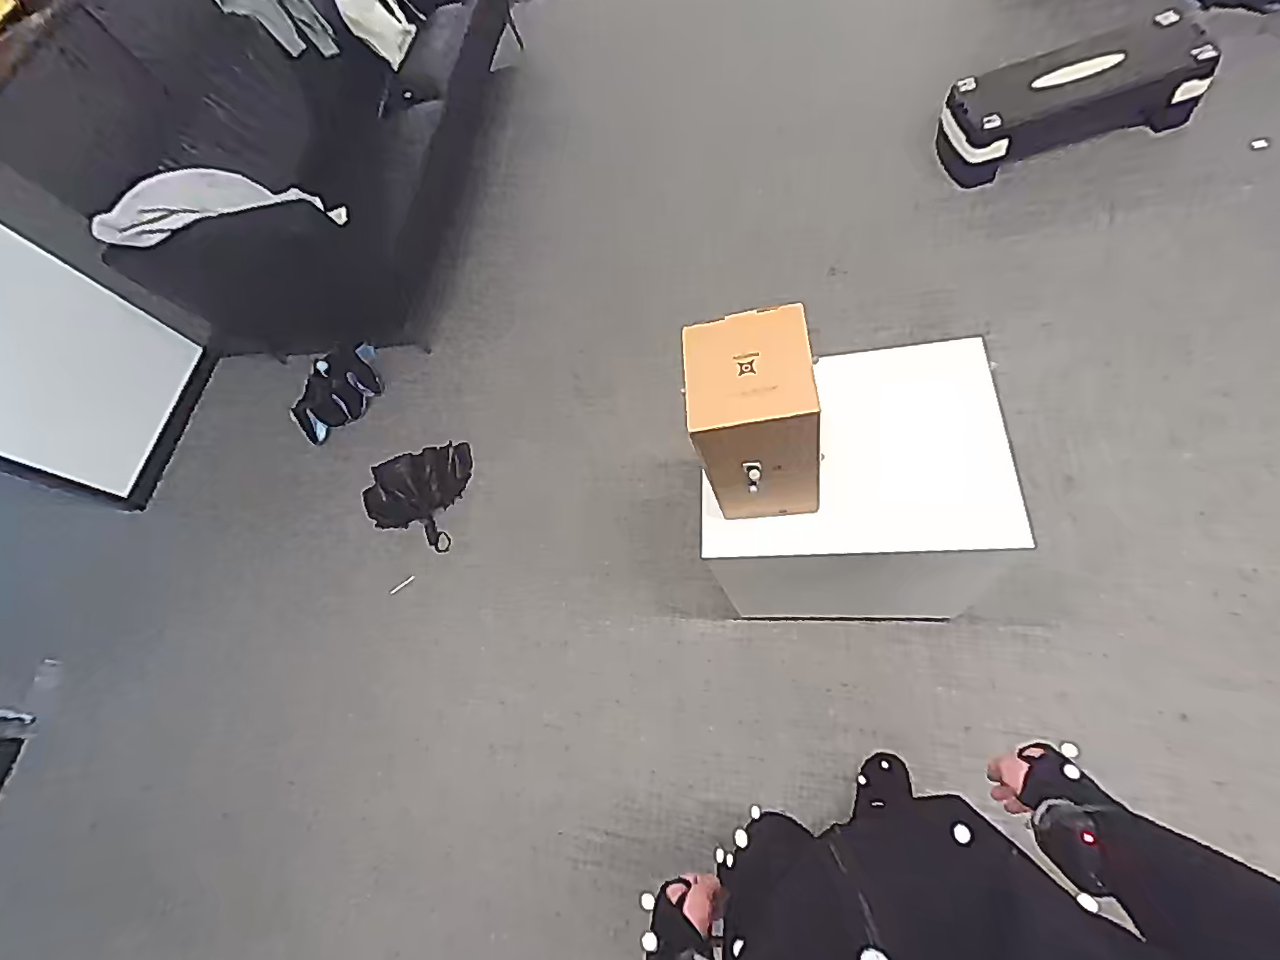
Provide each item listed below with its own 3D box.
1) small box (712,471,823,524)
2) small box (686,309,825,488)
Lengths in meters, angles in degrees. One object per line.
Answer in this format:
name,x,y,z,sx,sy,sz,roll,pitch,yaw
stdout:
small box,0.214,-0.041,0.914,0.168,0.176,0.179,-6,63,16
small box,0.166,-0.107,0.773,0.168,0.176,0.179,-9,63,16
